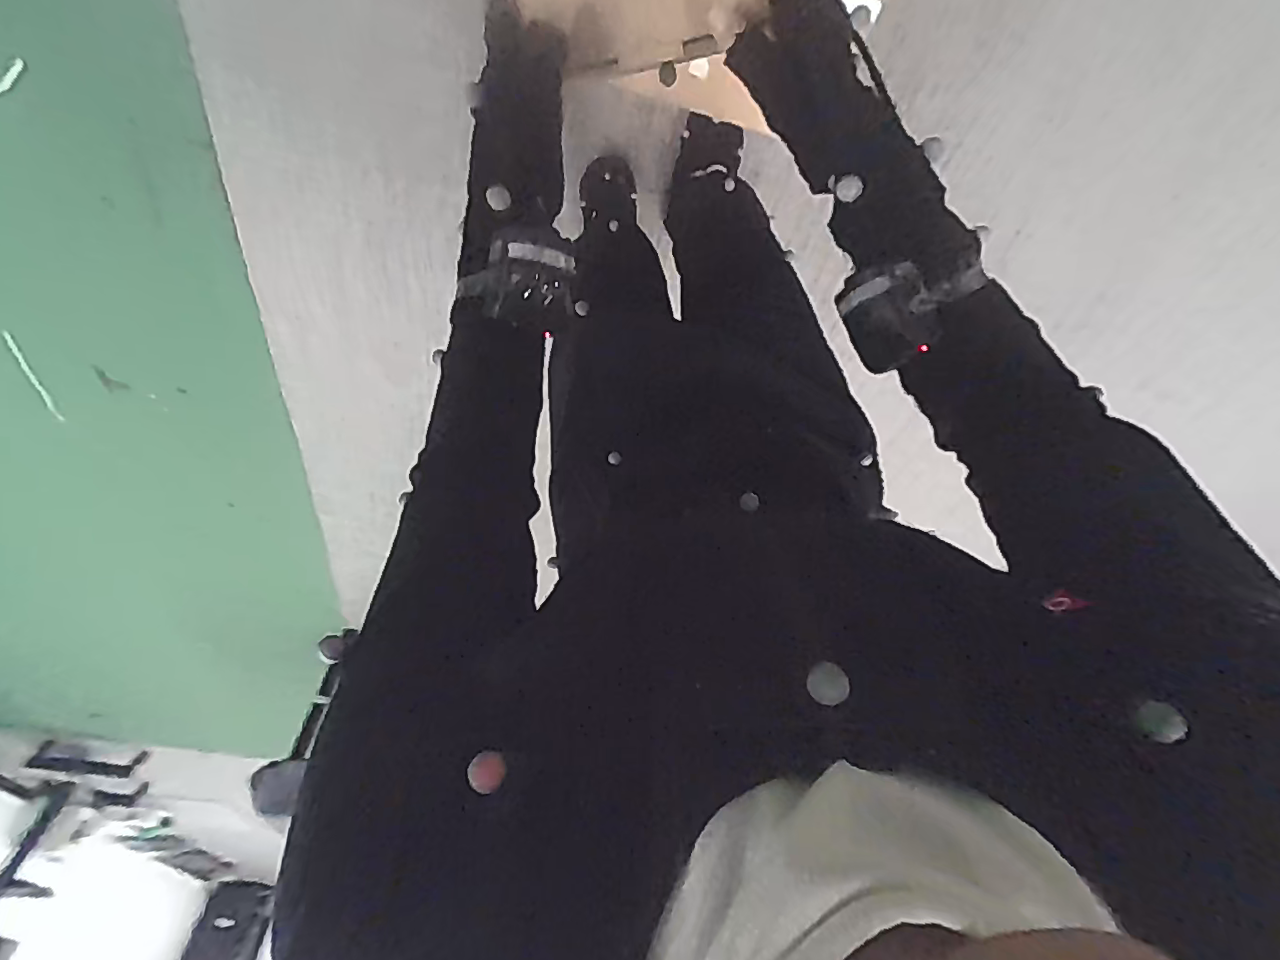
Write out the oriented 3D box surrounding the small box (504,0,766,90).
[{"bbox_3d":[-0.001,-0.394,0.371,0.168,0.176,0.179,-2,126,15],"label":"small box"}]
